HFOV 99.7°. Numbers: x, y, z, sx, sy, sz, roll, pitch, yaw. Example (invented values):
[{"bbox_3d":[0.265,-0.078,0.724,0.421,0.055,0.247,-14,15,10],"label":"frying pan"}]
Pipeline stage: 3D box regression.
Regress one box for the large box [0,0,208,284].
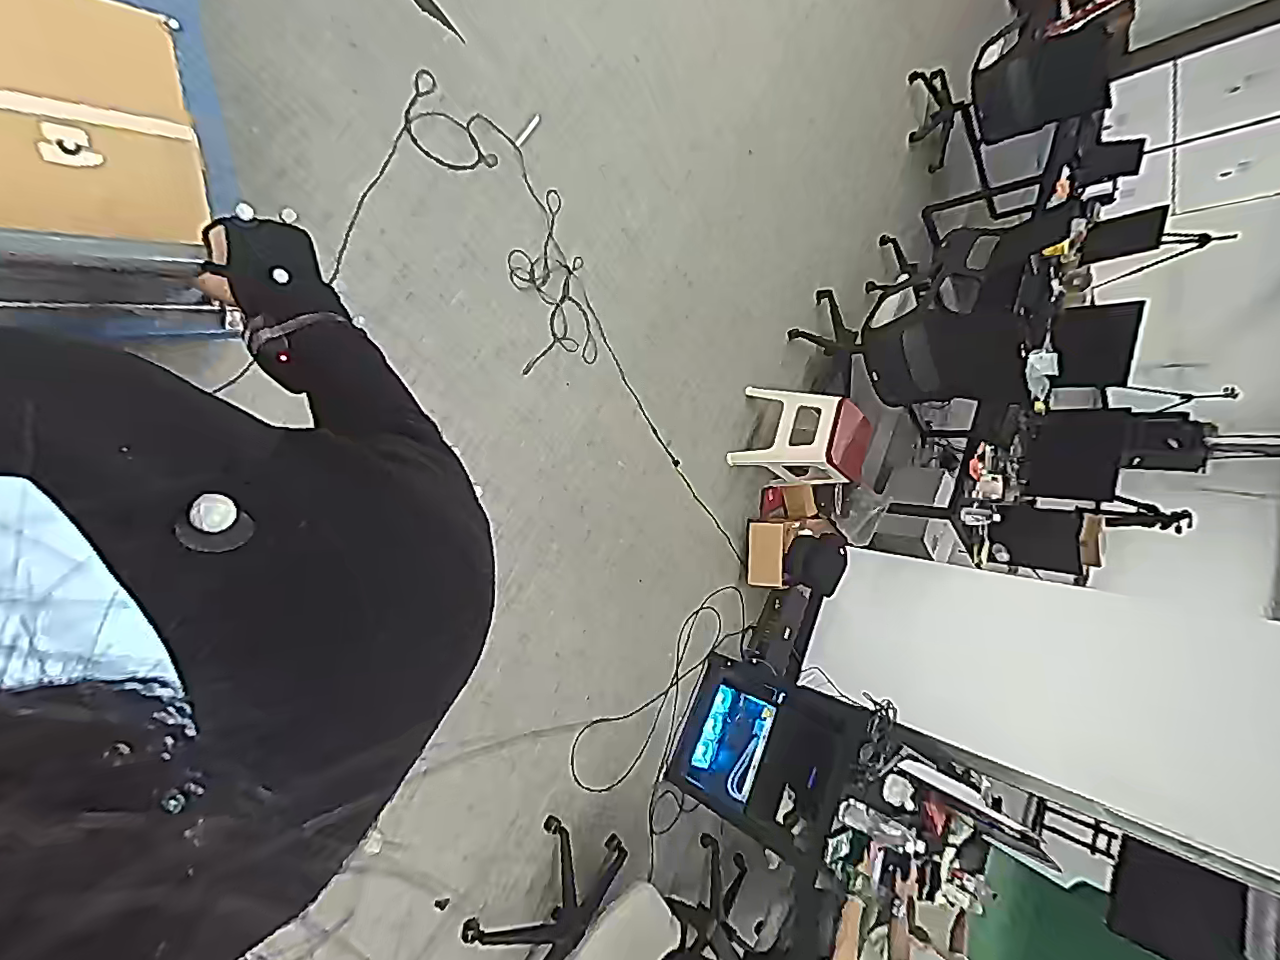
[{"bbox_3d":[-0.914,-0.472,0.764,0.408,0.320,0.320,-15,105,-43],"label":"large box"}]
